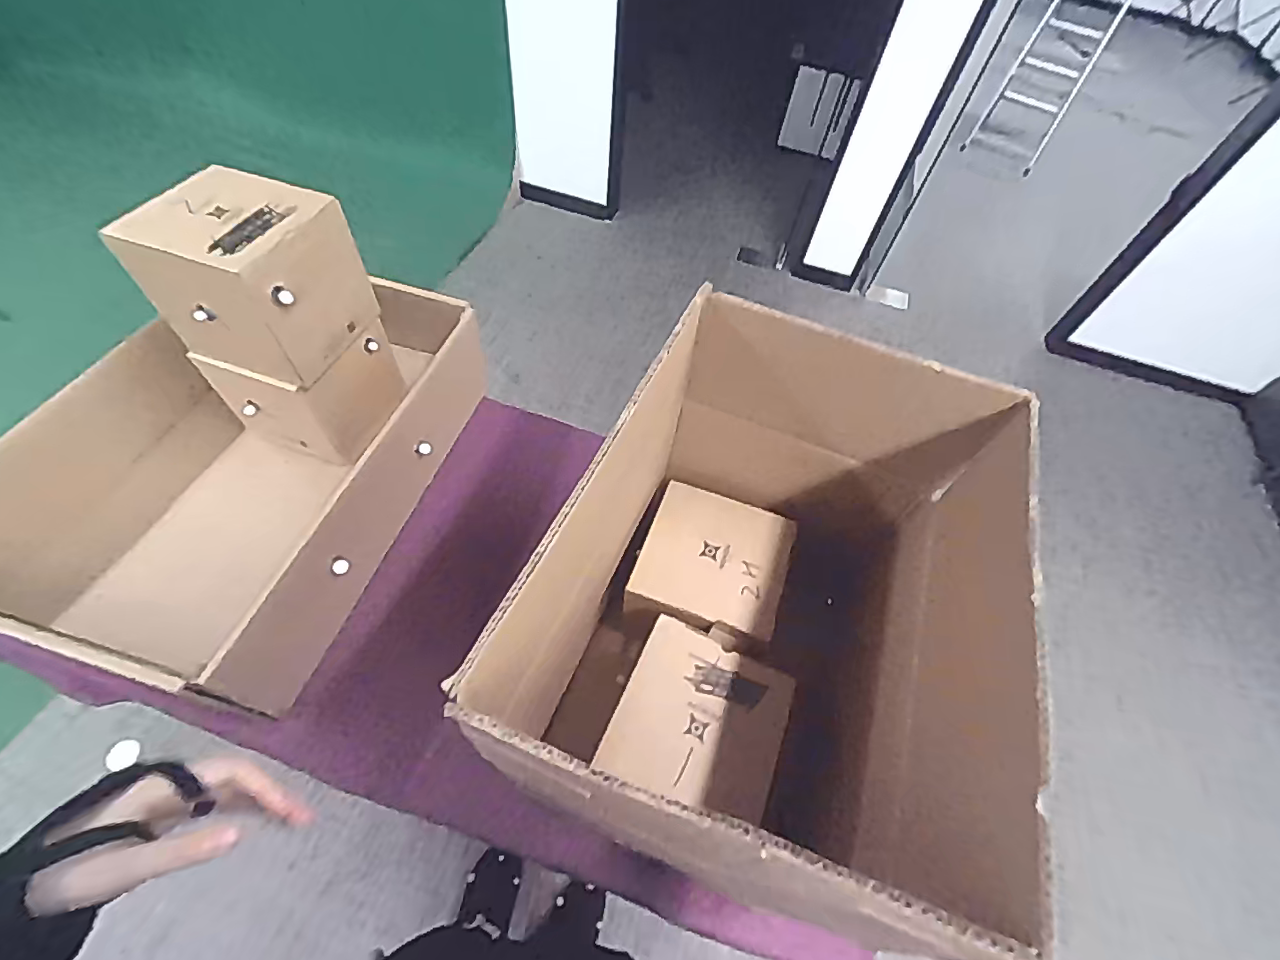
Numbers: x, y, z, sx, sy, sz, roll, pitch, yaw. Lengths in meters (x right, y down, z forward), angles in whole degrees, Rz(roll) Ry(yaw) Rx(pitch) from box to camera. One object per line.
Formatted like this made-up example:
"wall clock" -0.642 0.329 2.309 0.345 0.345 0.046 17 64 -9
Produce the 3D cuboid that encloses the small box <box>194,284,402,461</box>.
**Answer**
"small box" -0.488 -0.155 0.809 0.168 0.176 0.179 18 56 7
